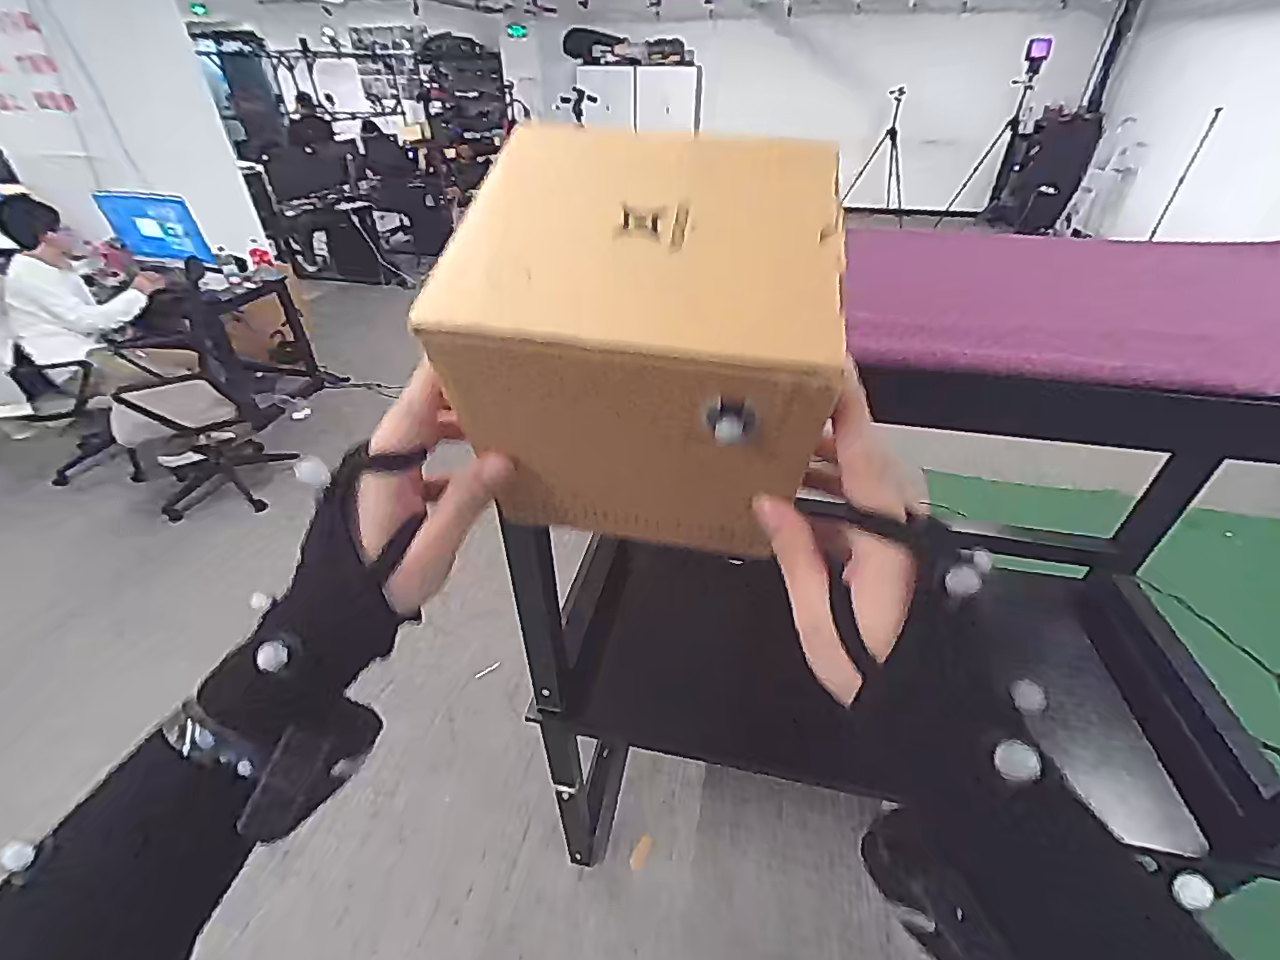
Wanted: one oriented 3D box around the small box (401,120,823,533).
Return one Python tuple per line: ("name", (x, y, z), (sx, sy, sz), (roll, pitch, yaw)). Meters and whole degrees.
("small box", (0.001, -0.082, 0.322), (0.179, 0.176, 0.168), (7, 59, 7))
